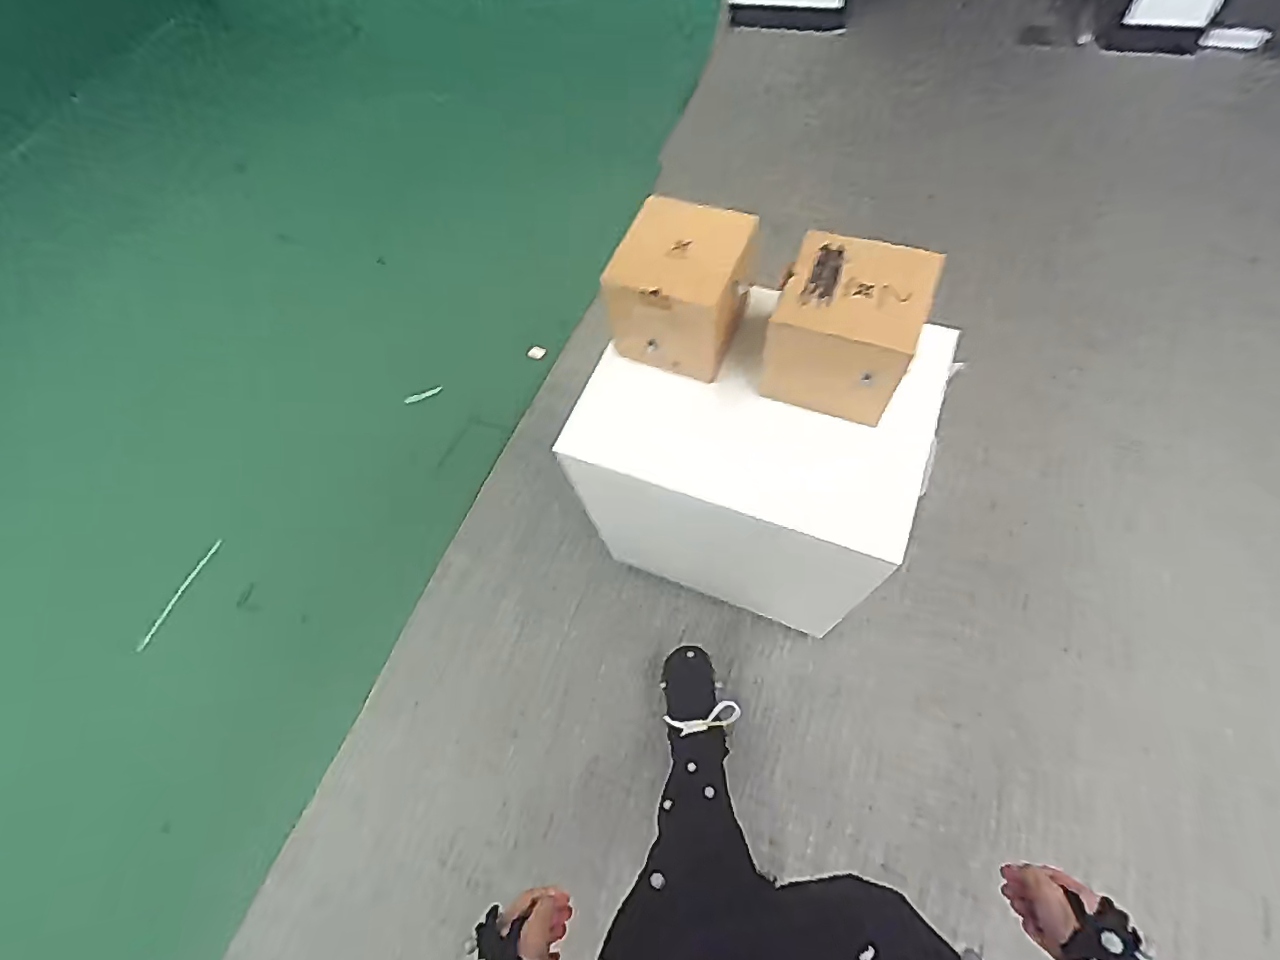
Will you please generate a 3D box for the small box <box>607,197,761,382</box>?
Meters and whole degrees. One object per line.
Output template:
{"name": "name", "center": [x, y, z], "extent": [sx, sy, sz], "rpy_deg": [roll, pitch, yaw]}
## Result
{"name": "small box", "center": [0.068, -0.281, 0.812], "extent": [0.168, 0.176, 0.179], "rpy_deg": [20, 69, 15]}
